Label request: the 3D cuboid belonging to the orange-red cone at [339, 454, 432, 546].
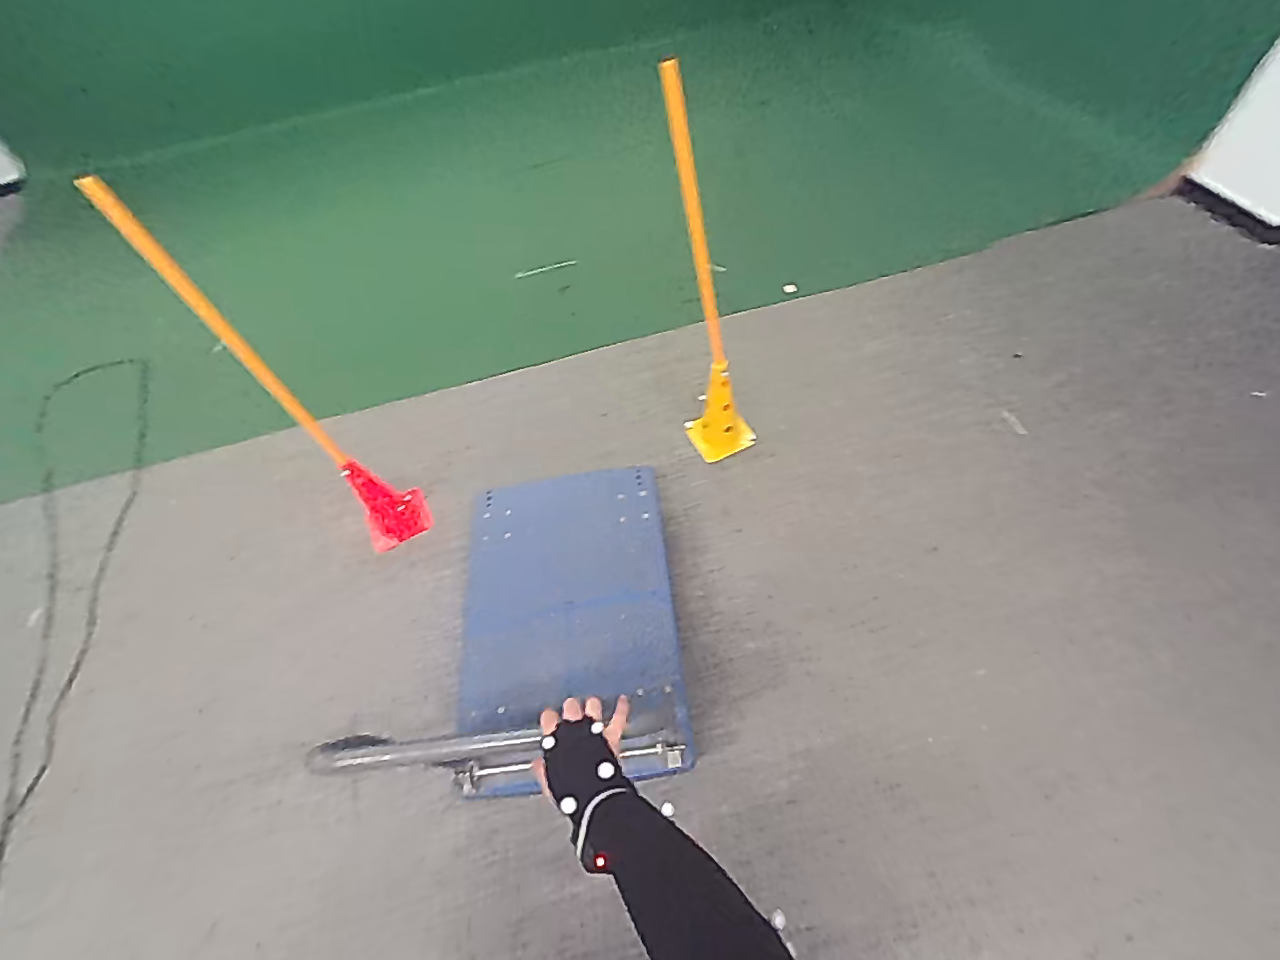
[{"bbox_3d":[-0.871,0.033,1.779,0.199,0.360,0.198,-28,57,-9],"label":"orange-red cone"}]
